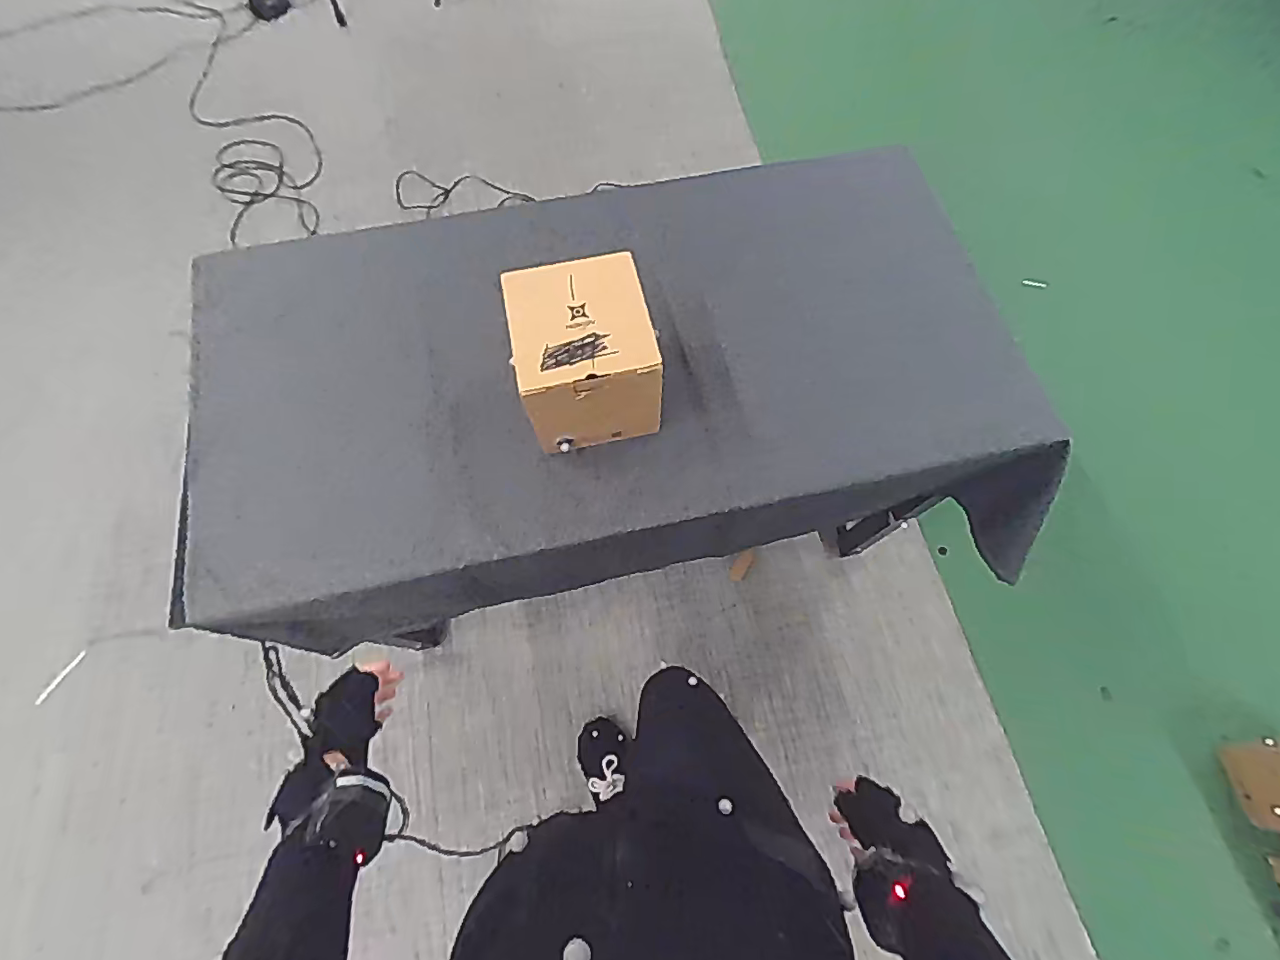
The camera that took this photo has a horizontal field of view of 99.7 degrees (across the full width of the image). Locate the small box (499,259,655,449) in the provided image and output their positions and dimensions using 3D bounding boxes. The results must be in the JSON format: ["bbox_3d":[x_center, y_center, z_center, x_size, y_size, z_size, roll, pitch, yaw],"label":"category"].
[{"bbox_3d":[-0.076,-0.155,0.718,0.168,0.176,0.179,-12,68,-4],"label":"small box"}]
